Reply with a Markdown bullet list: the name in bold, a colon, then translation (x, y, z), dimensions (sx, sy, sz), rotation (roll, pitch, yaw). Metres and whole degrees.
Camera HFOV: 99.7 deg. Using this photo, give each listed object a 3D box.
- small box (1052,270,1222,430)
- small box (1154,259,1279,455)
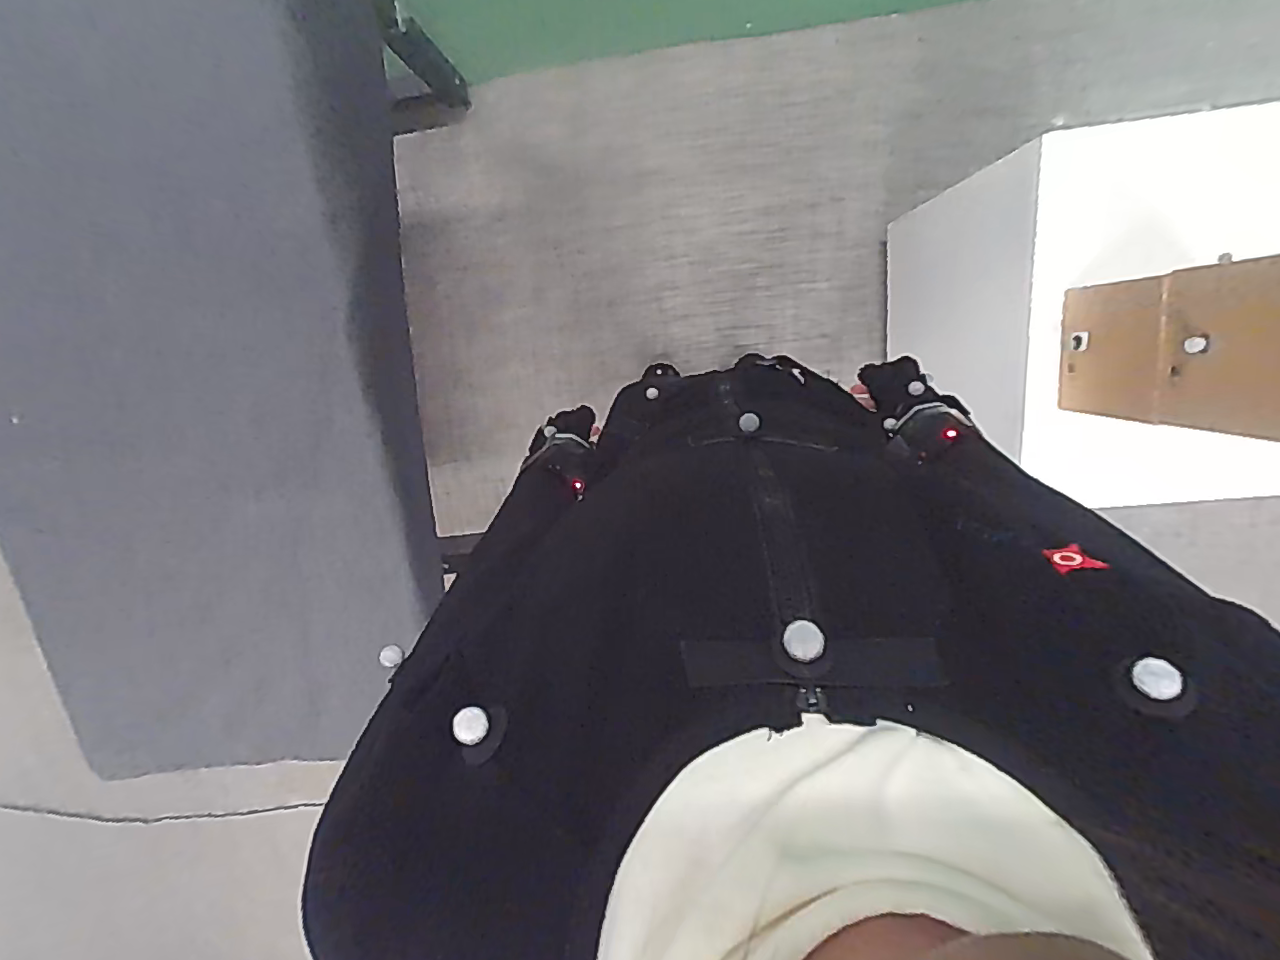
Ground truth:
- **small box**: translation (0.648, -0.161, 0.653), dimensions (0.179, 0.176, 0.168), rotation (-6, 103, 8)
- **small box**: translation (0.637, -0.123, 0.493), dimensions (0.179, 0.176, 0.168), rotation (-8, 103, 5)
